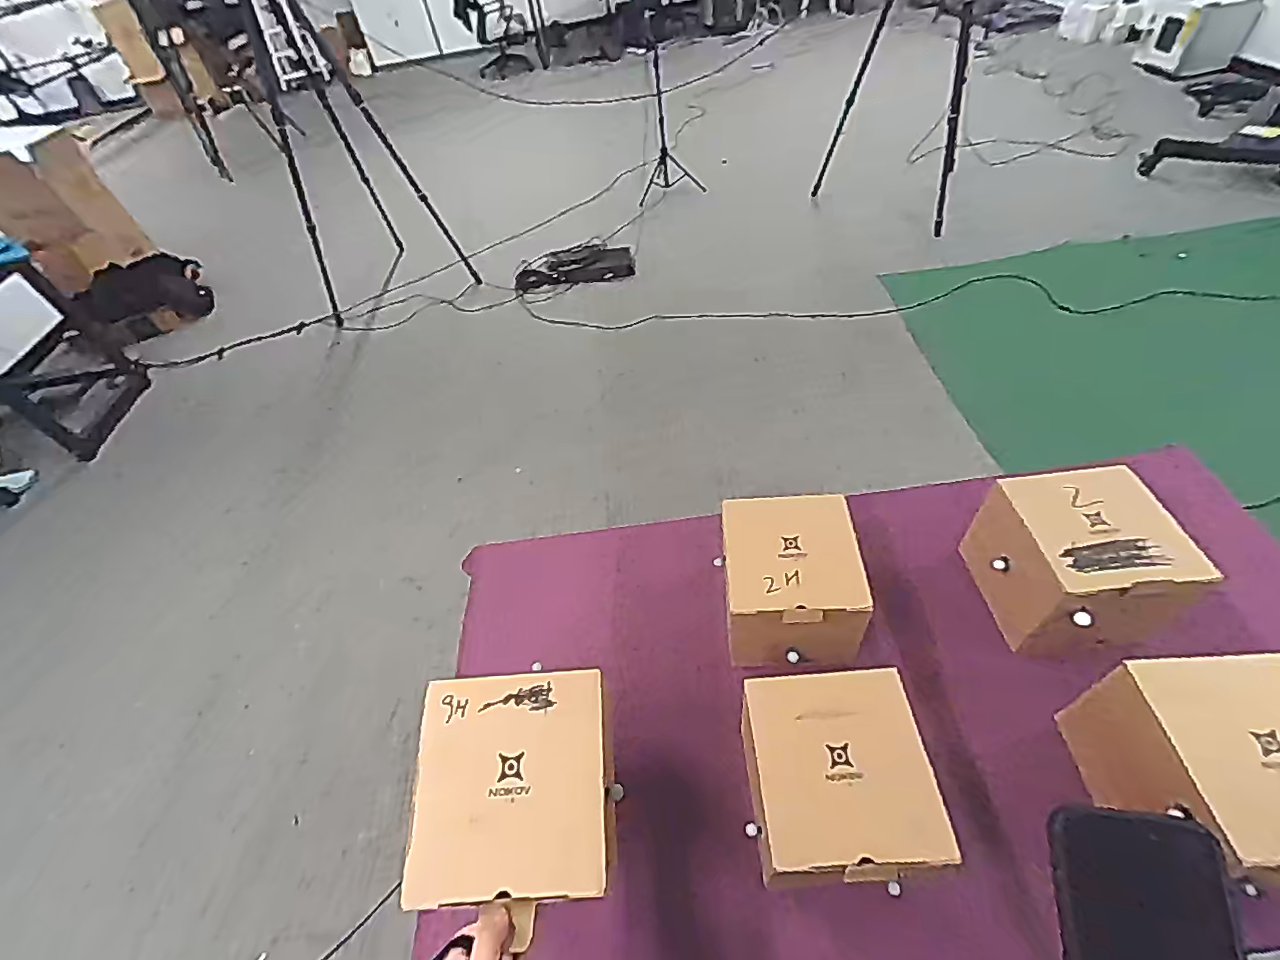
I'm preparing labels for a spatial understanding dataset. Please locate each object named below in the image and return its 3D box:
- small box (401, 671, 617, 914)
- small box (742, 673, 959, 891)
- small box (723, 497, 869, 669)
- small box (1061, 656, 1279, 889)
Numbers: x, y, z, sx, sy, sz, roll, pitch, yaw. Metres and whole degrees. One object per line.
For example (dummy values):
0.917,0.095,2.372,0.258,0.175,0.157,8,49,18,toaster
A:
-0.112,0.299,0.537,0.168,0.176,0.179,-4,60,-1,small box
0.206,0.332,0.587,0.168,0.176,0.179,-7,48,4,small box
0.200,0.144,0.749,0.168,0.176,0.179,-3,49,8,small box
0.581,0.297,0.547,0.168,0.176,0.179,-5,49,6,small box
